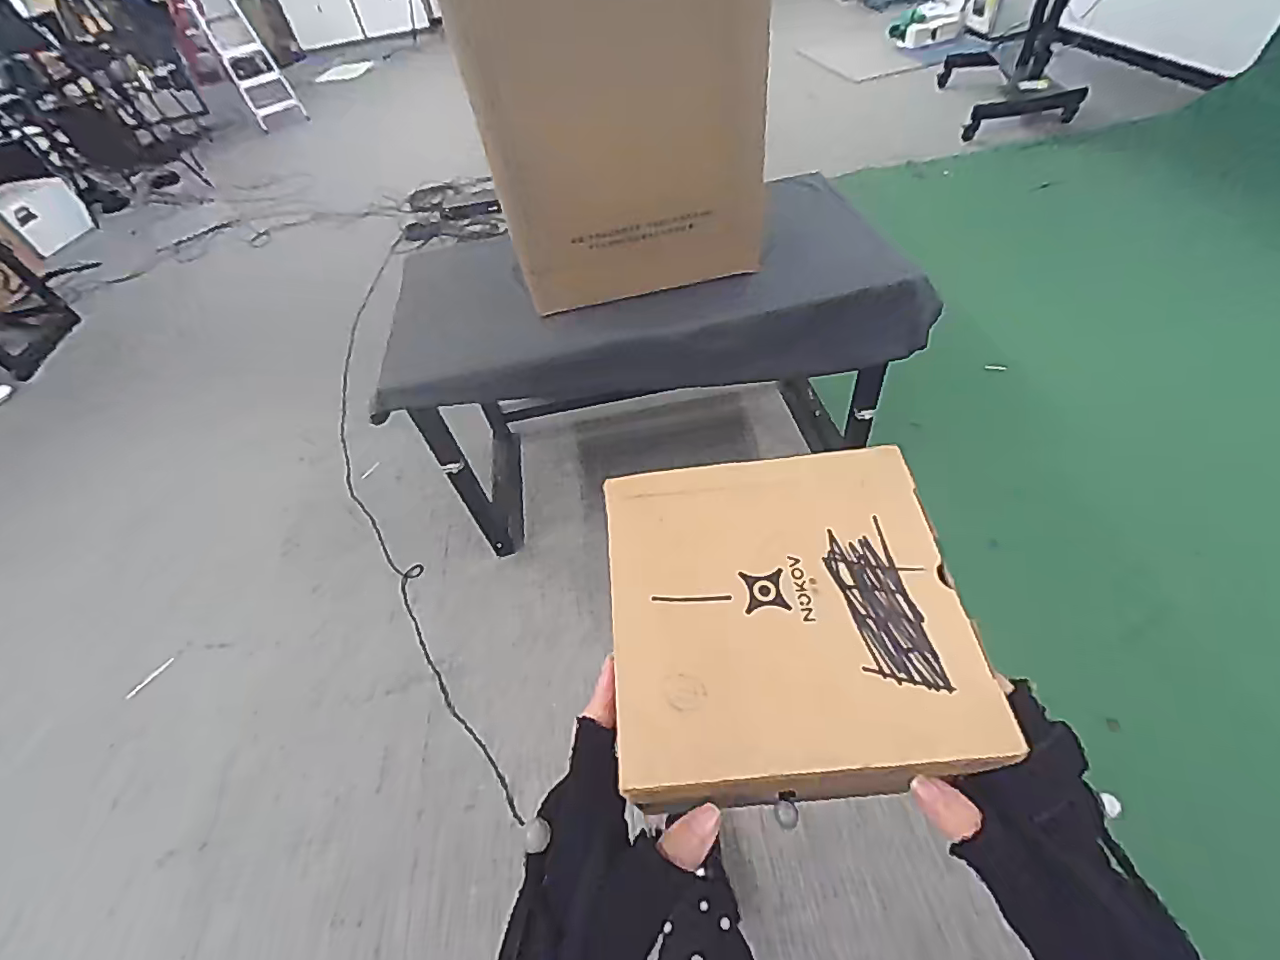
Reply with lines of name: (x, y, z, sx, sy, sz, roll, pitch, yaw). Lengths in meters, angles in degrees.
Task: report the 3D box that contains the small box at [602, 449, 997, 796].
small box: (0.072, 0.099, 0.346, 0.179, 0.176, 0.168, -5, 55, 2)
